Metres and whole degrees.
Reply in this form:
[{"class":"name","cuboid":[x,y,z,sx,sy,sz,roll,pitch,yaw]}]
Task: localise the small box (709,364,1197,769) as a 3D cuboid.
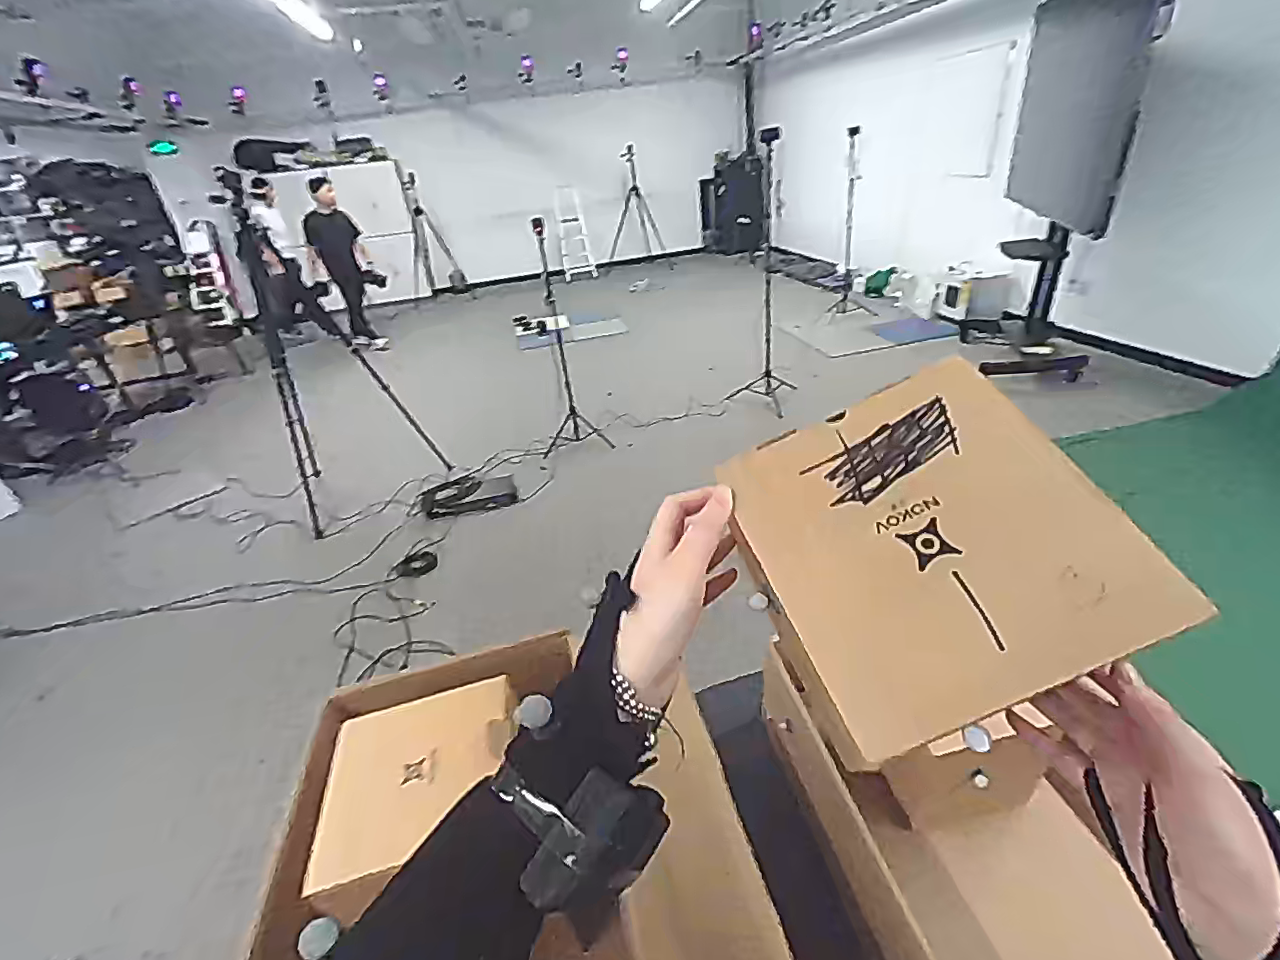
[{"class":"small box","cuboid":[0.161,0.066,0.349,0.168,0.176,0.179,-25,60,3]}]
